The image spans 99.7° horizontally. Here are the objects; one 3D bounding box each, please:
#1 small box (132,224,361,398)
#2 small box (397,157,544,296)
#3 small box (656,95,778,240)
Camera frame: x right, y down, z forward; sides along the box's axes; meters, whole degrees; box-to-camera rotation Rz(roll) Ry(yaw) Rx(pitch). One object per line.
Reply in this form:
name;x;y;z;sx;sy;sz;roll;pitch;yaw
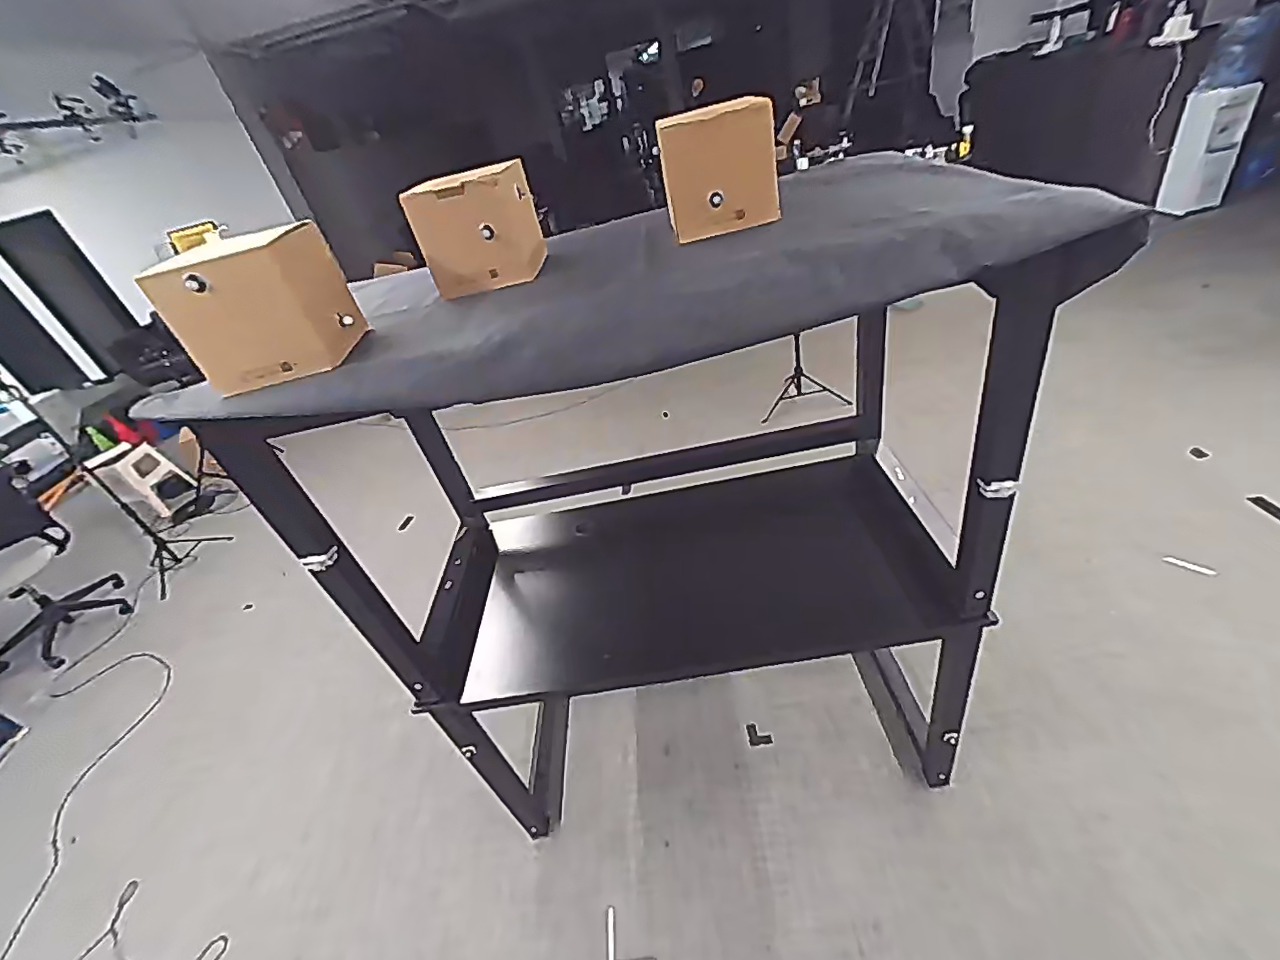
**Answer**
small box;-0.520;-0.236;0.753;0.168;0.176;0.179;-15;36;0
small box;-0.273;-0.428;0.924;0.168;0.176;0.179;-9;37;8
small box;0.123;-0.510;0.887;0.168;0.176;0.179;-11;37;6
